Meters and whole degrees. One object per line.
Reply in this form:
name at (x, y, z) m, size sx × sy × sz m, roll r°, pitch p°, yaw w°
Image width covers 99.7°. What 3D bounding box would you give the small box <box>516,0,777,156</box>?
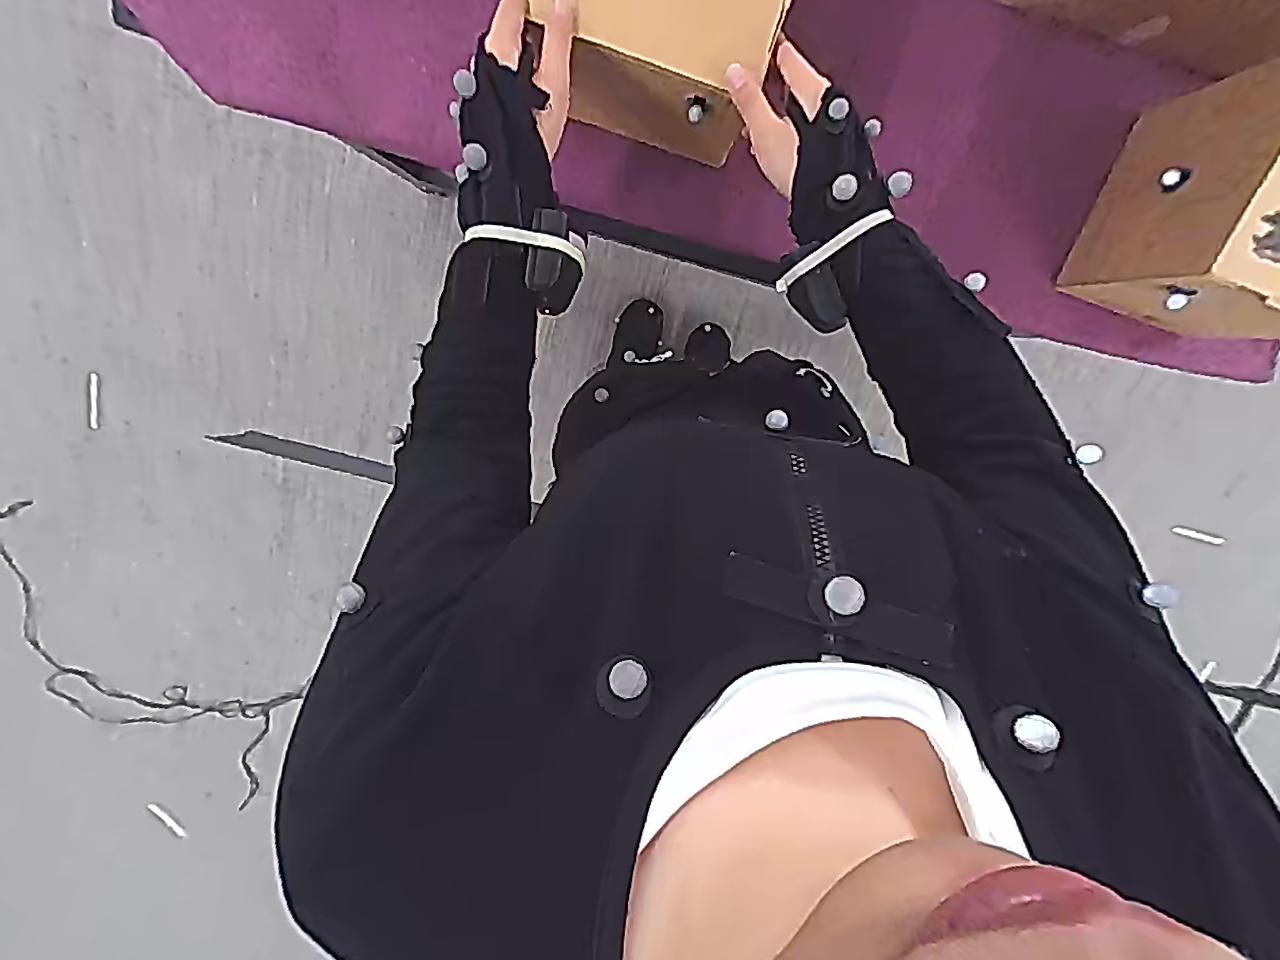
small box at (0.016, -0.395, 0.440) m, size 0.179 × 0.176 × 0.168 m, roll 15°, pitch 104°, yaw -6°
